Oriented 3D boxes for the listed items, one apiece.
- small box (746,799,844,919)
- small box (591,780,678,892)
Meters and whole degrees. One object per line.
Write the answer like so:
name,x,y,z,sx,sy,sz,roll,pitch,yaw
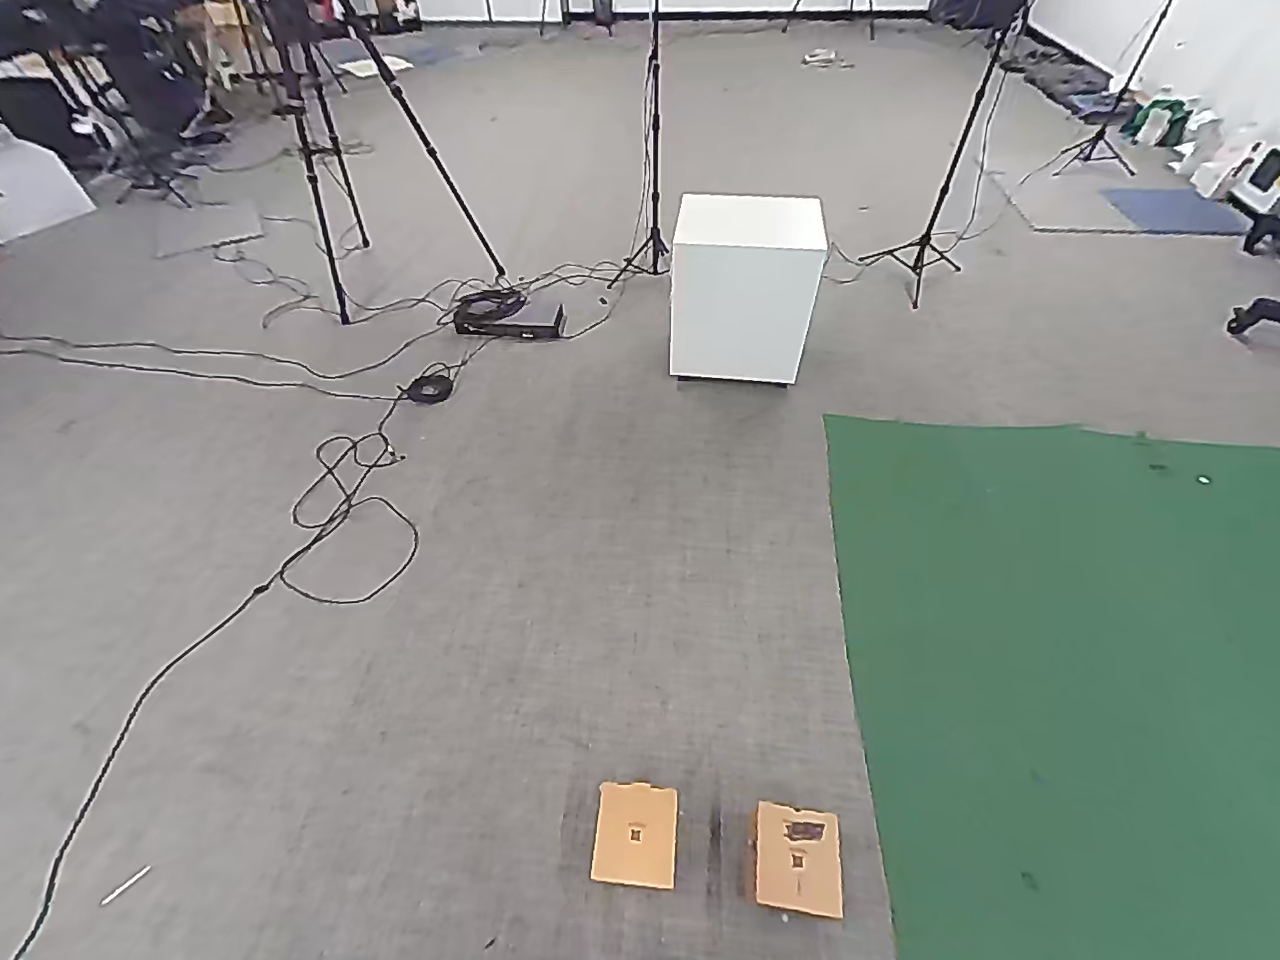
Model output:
small box,0.318,0.798,1.137,0.168,0.176,0.179,6,51,7
small box,-0.005,0.771,1.167,0.168,0.176,0.179,3,49,4
